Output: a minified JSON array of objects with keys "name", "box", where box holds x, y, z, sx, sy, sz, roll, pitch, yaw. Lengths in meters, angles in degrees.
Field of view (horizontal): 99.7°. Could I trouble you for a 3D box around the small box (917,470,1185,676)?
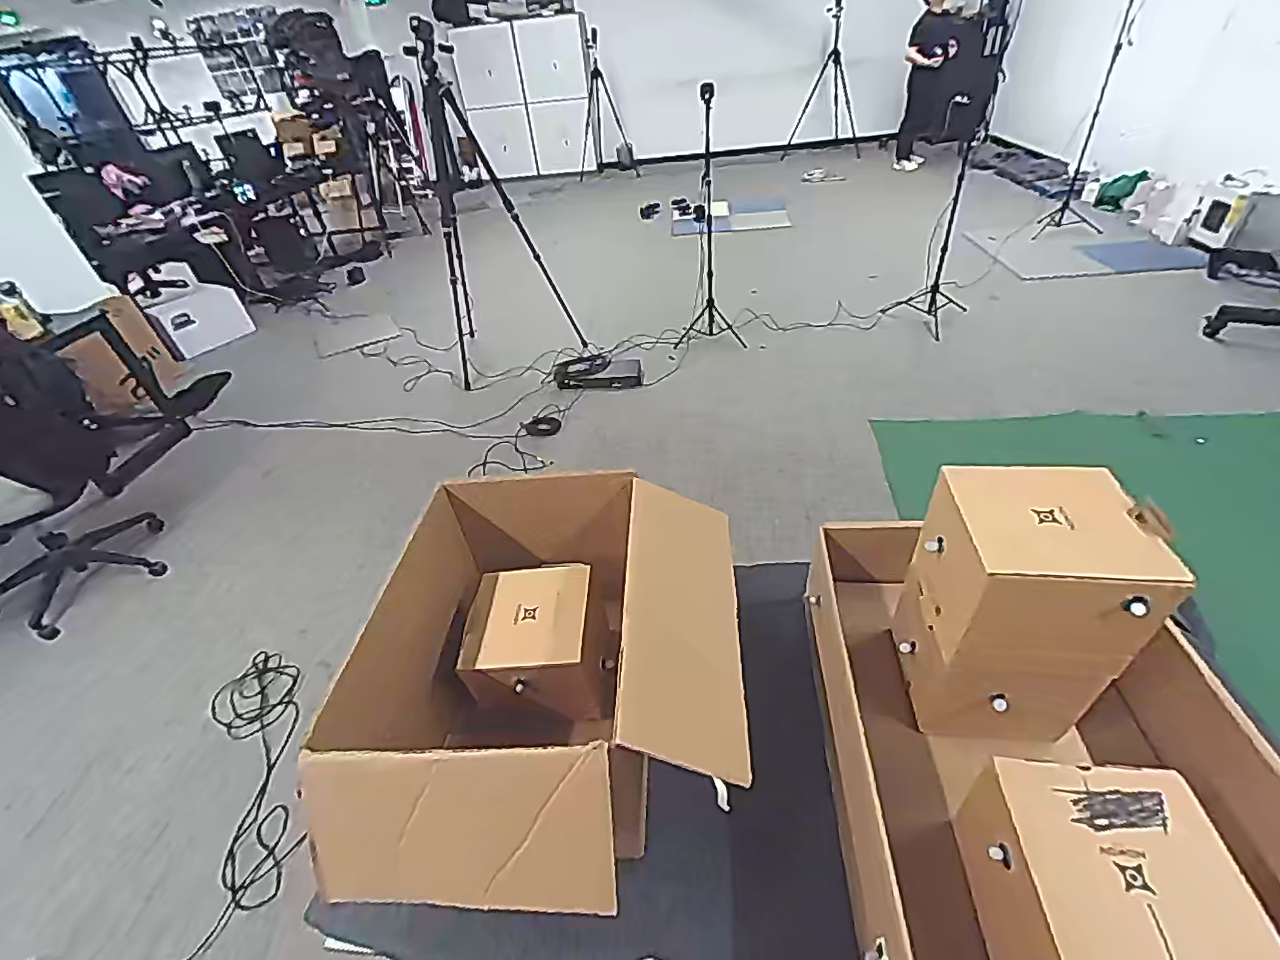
[{"name":"small box","box":[0.434,0.105,0.616,0.179,0.176,0.168,1,41,10]}]
